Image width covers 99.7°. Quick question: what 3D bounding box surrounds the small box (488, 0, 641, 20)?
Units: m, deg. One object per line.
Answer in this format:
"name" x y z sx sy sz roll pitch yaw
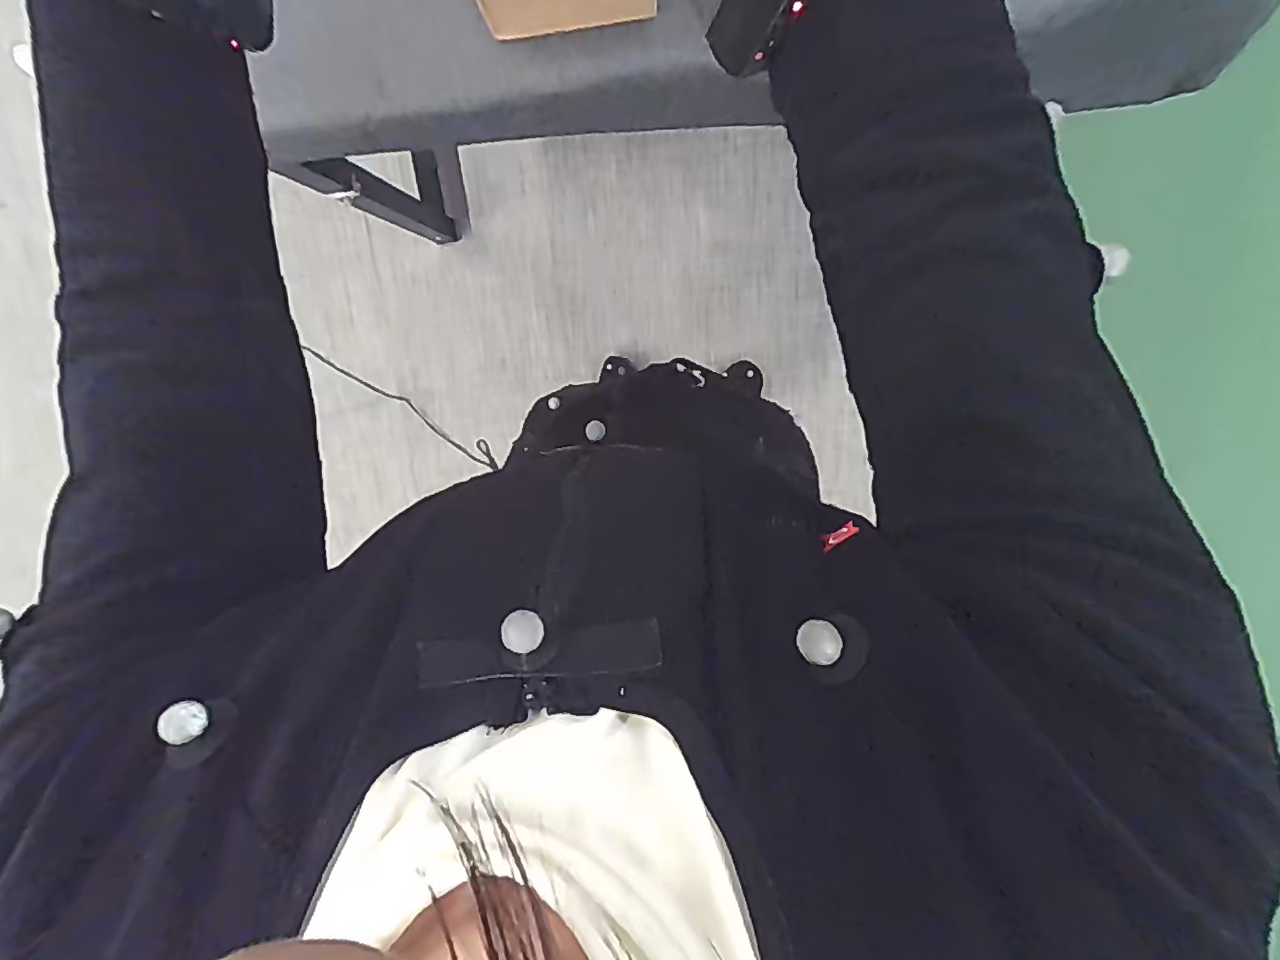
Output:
"small box" -0.080 -0.551 0.476 0.179 0.176 0.168 -4 103 5
